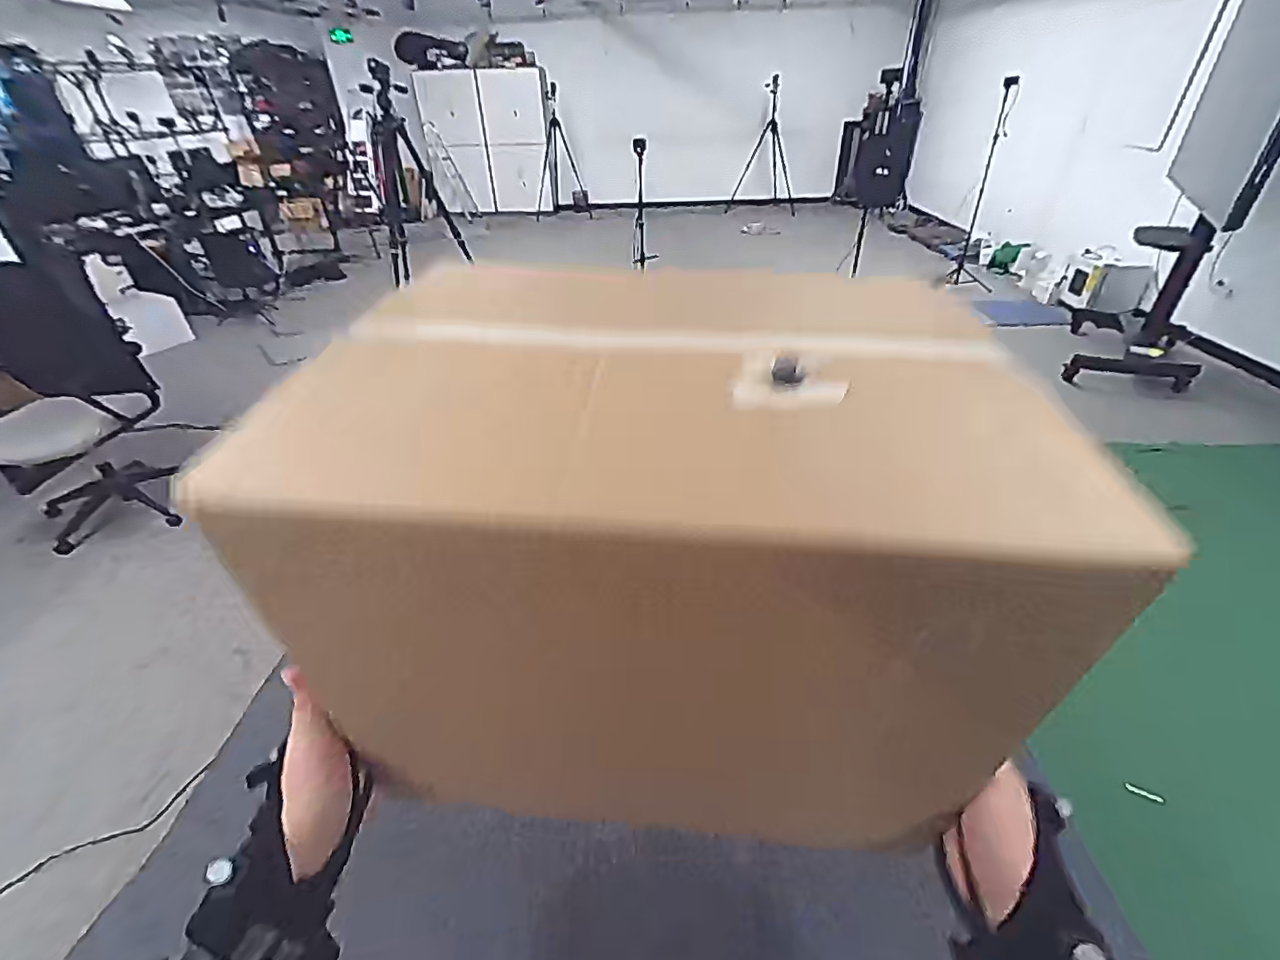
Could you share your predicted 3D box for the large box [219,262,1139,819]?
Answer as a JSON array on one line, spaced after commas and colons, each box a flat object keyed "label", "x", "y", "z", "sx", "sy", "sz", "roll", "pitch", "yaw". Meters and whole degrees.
[{"label": "large box", "x": 0.016, "y": 0.033, "z": 0.436, "sx": 0.408, "sy": 0.320, "sz": 0.320, "roll": 4, "pitch": 40, "yaw": 4}]
